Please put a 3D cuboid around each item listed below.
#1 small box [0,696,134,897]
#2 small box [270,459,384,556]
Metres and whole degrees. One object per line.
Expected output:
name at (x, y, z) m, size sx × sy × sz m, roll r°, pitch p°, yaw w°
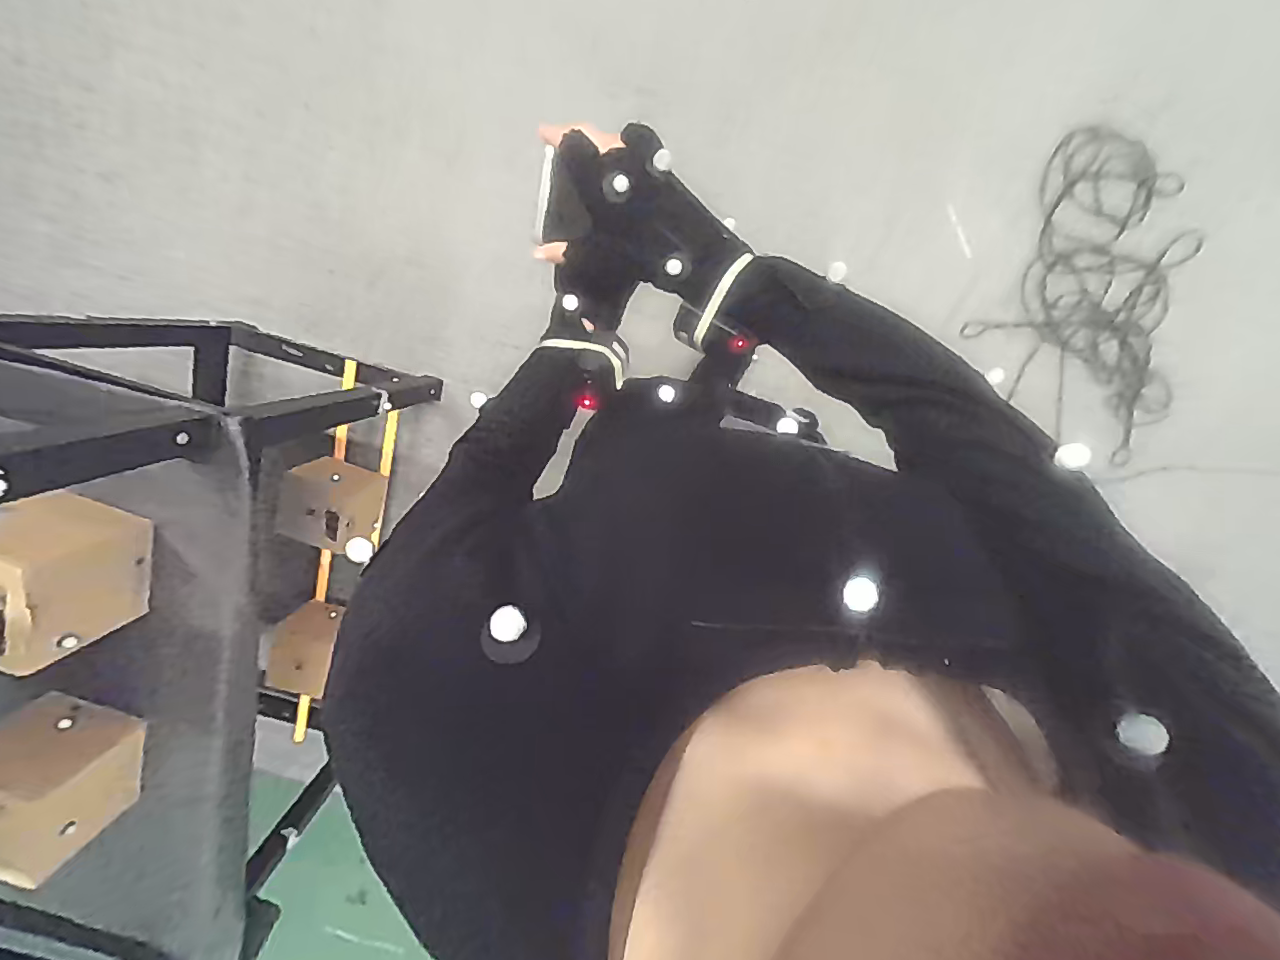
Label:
small box at (-0.933, 0.473, 0.826) m, size 0.168 × 0.176 × 0.179 m, roll 19°, pitch 105°, yaw -2°
small box at (-0.774, 0.061, 1.353) m, size 0.179 × 0.176 × 0.168 m, roll 20°, pitch 105°, yaw -3°
